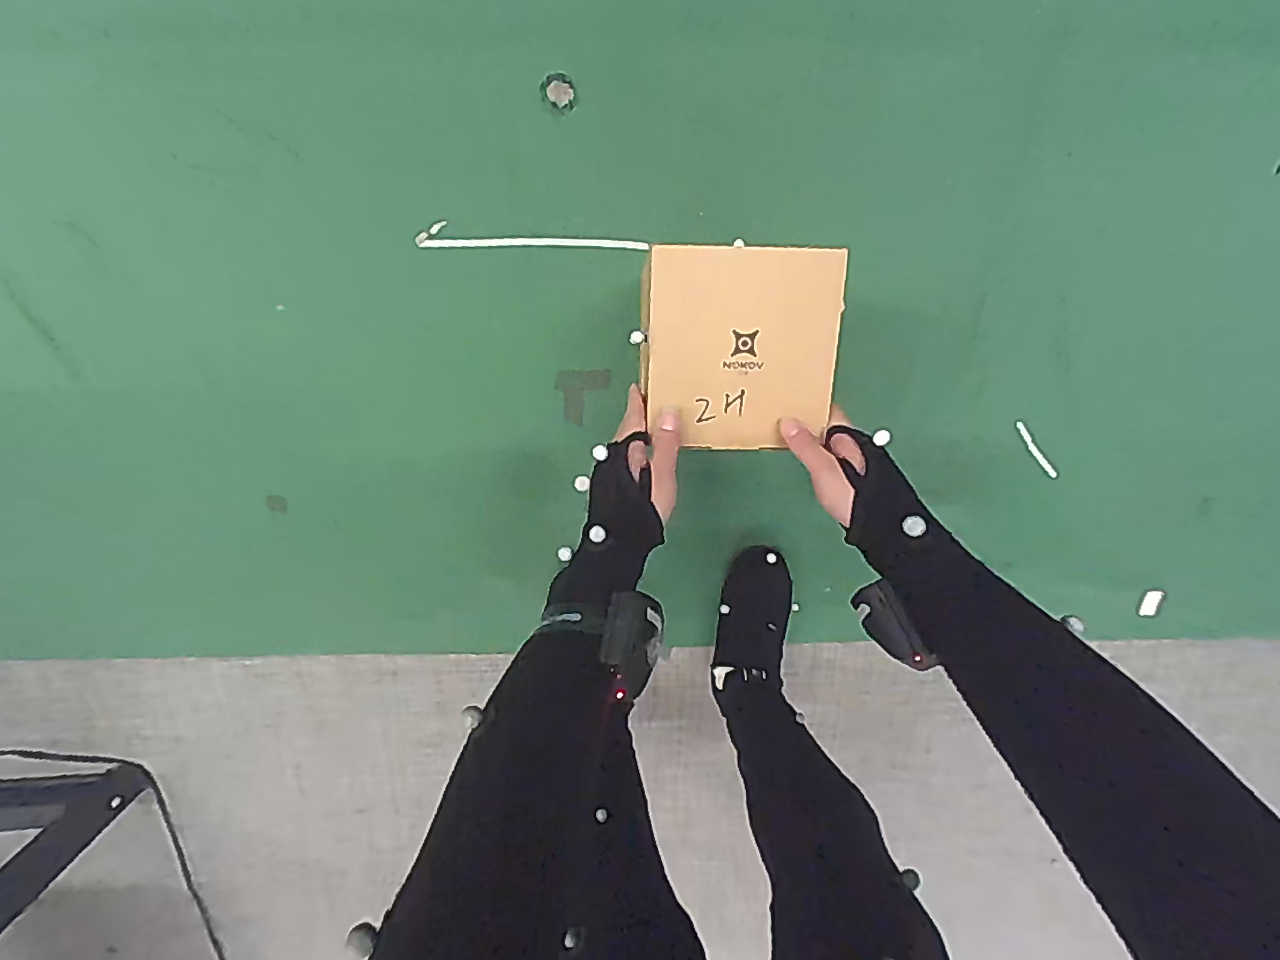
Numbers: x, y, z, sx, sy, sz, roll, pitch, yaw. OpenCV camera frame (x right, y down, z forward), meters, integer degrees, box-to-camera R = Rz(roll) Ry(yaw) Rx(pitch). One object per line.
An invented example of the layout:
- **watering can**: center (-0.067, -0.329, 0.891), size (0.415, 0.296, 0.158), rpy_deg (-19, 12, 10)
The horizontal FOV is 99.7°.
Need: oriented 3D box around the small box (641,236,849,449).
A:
- **small box**: center (0.088, -0.137, 0.543), size (0.168, 0.176, 0.179), rpy_deg (1, 108, -1)
